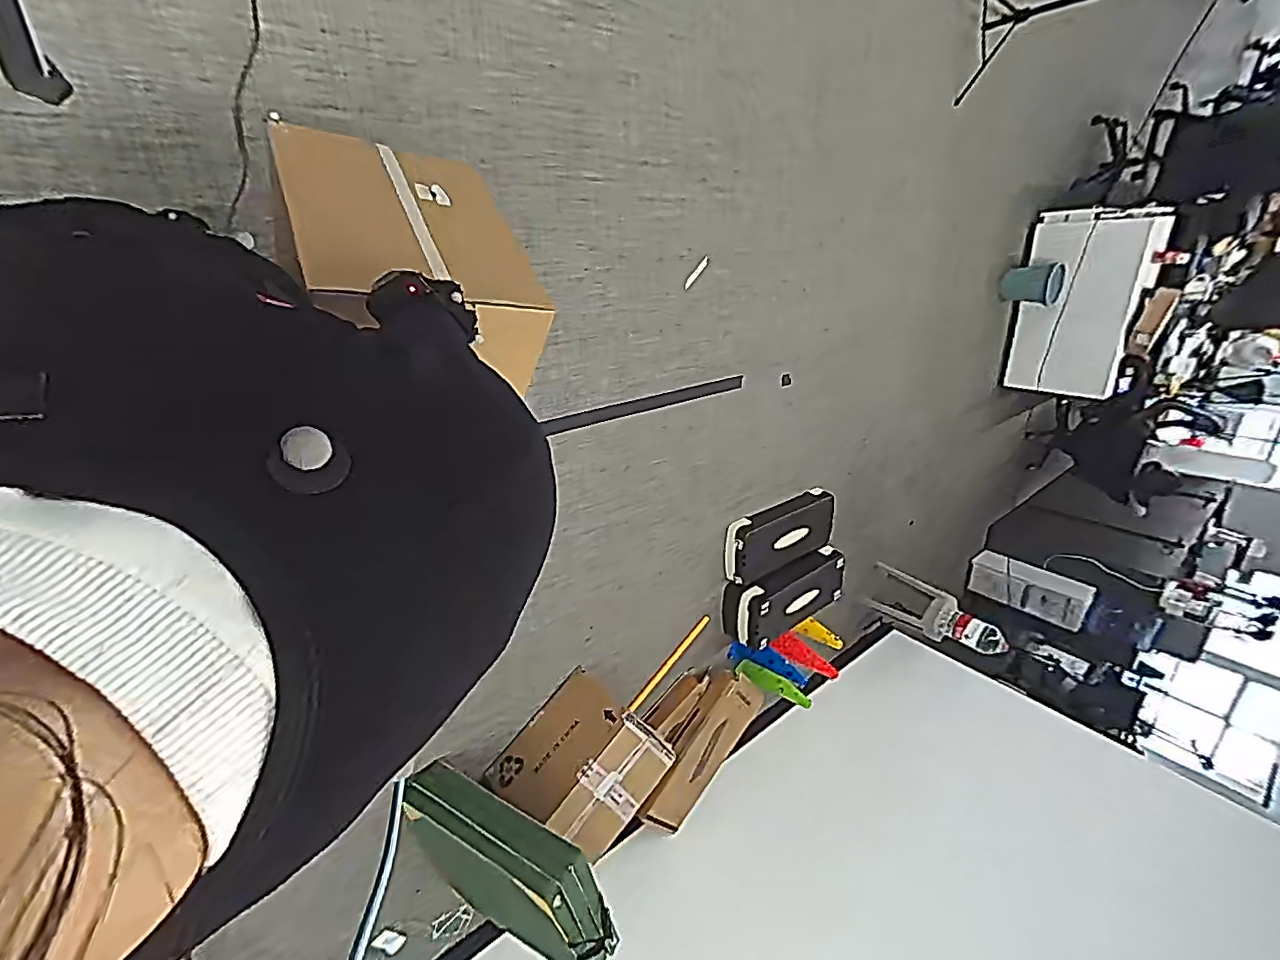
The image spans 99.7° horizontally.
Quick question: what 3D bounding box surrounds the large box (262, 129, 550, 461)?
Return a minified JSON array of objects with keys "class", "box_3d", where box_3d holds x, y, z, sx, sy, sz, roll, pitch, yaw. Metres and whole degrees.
[{"class":"large box","box_3d":[-0.402,-0.289,0.894,0.320,0.408,0.320,-8,145,-38]}]
